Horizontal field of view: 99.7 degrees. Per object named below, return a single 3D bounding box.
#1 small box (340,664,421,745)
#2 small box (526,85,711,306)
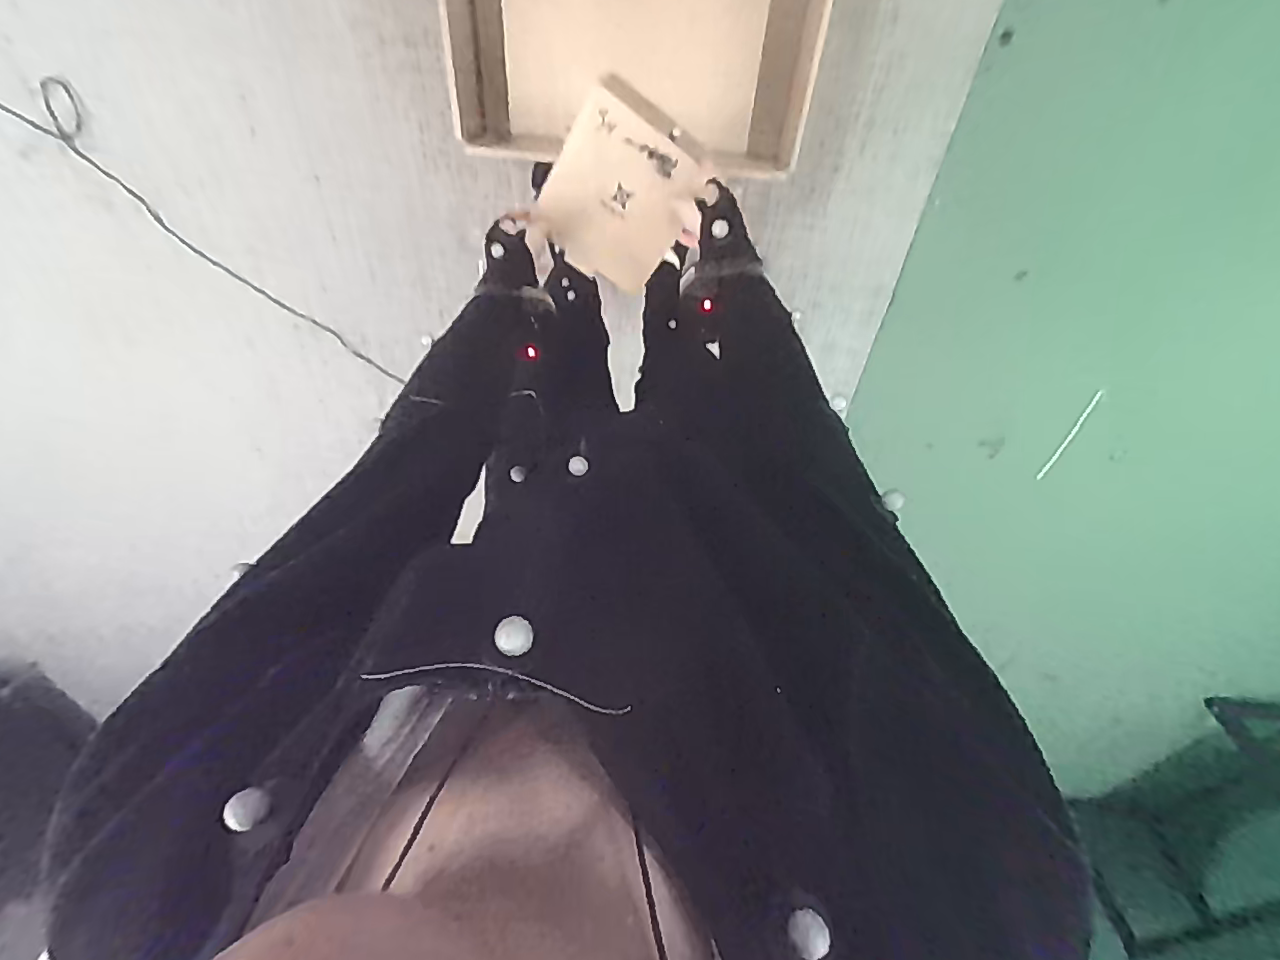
[{"bbox_3d":[-0.862,0.751,1.811,0.168,0.176,0.179,33,124,-21],"label":"small box"},{"bbox_3d":[-0.021,-0.369,0.703,0.168,0.176,0.179,29,127,-18],"label":"small box"}]
